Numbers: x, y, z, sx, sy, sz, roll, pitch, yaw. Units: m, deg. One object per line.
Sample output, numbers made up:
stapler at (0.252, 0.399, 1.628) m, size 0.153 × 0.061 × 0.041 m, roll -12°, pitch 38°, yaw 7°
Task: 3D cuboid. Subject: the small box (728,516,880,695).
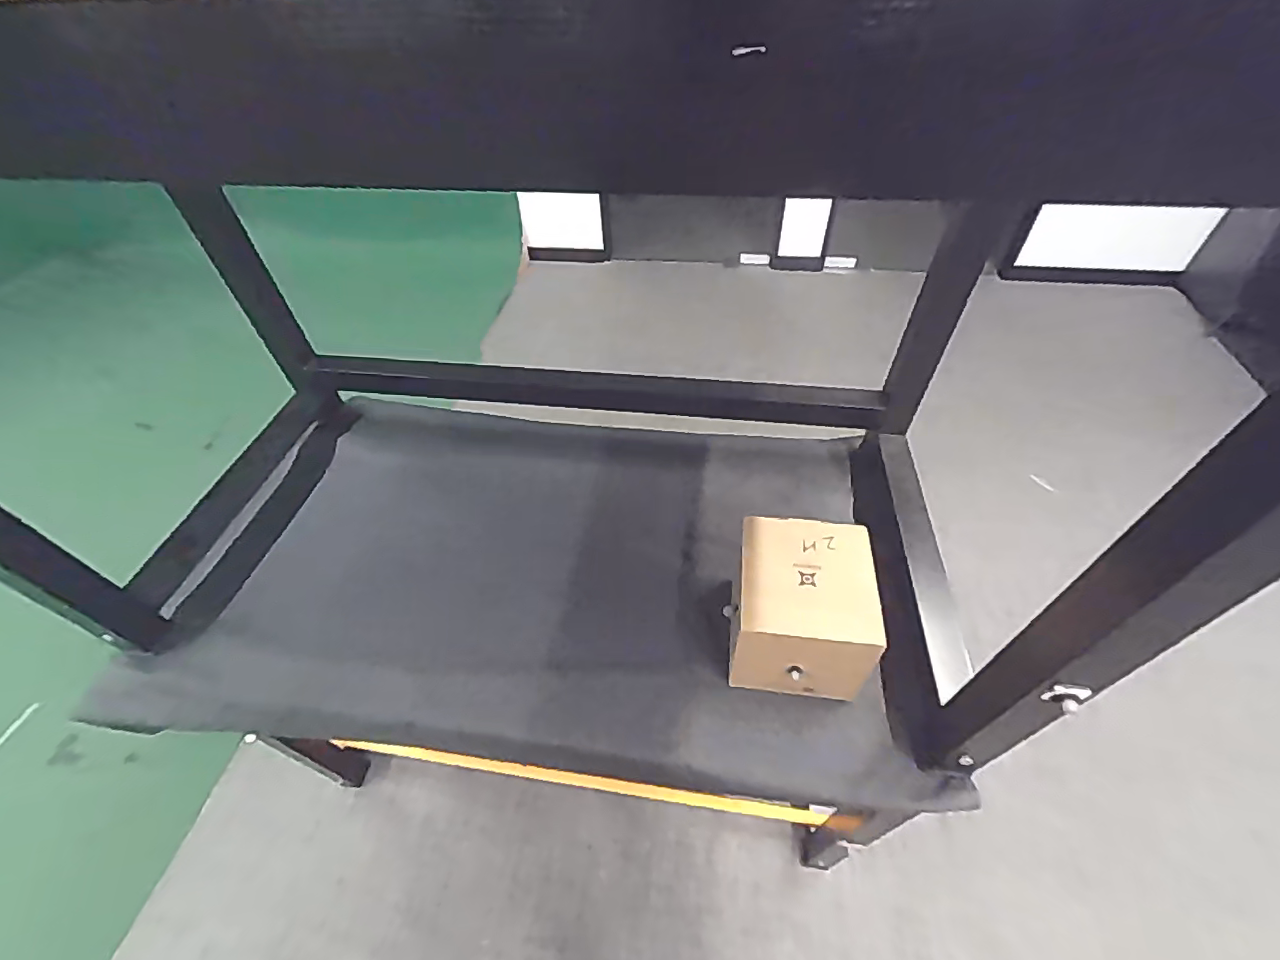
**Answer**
small box at (0.212, 0.174, 0.740) m, size 0.168 × 0.176 × 0.179 m, roll 5°, pitch 47°, yaw 7°
